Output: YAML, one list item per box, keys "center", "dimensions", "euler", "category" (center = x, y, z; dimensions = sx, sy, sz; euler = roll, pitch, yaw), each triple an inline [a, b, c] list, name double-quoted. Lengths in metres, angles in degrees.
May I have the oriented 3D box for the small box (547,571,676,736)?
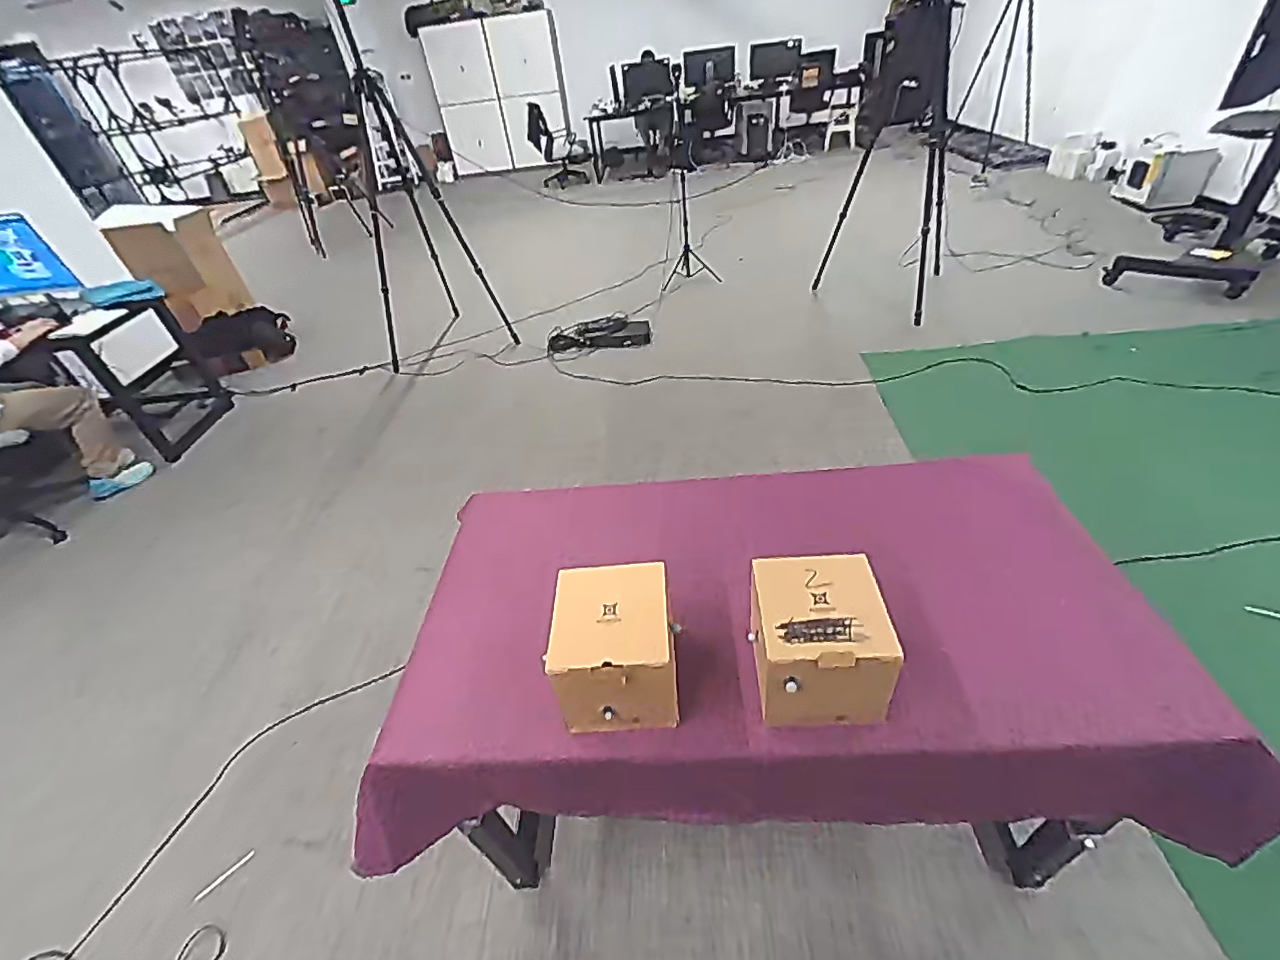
- center: [-0.035, 0.264, 0.827]
  dimensions: [0.168, 0.176, 0.179]
  euler: [-6, 40, 4]
  category: "small box"
